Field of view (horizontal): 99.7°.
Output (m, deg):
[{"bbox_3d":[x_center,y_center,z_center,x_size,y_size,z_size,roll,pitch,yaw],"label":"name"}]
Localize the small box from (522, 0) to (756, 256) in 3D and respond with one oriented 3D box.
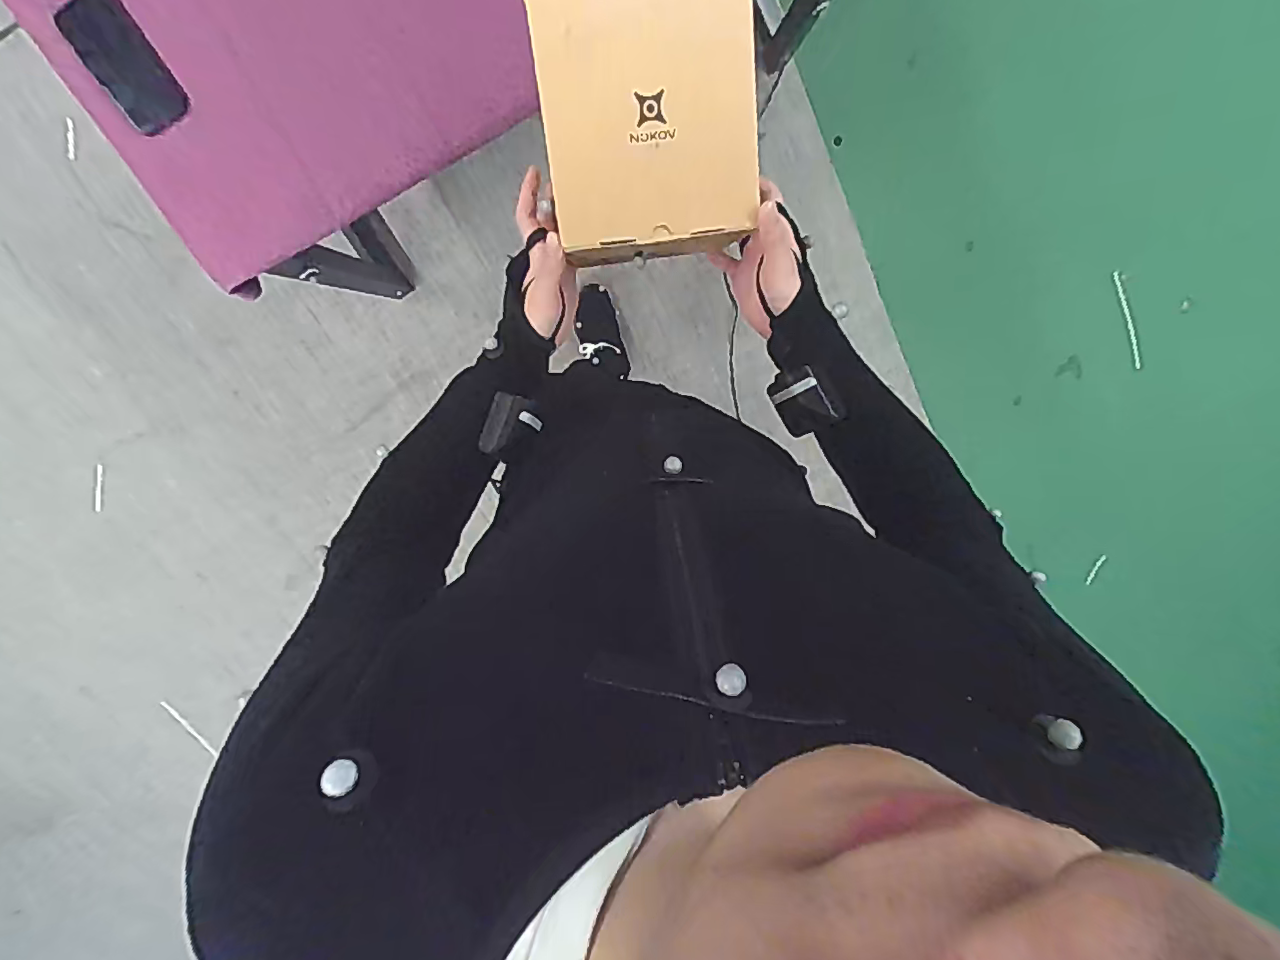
[{"bbox_3d":[-0.002,-0.308,0.483,0.168,0.176,0.179,-8,109,-1],"label":"small box"}]
